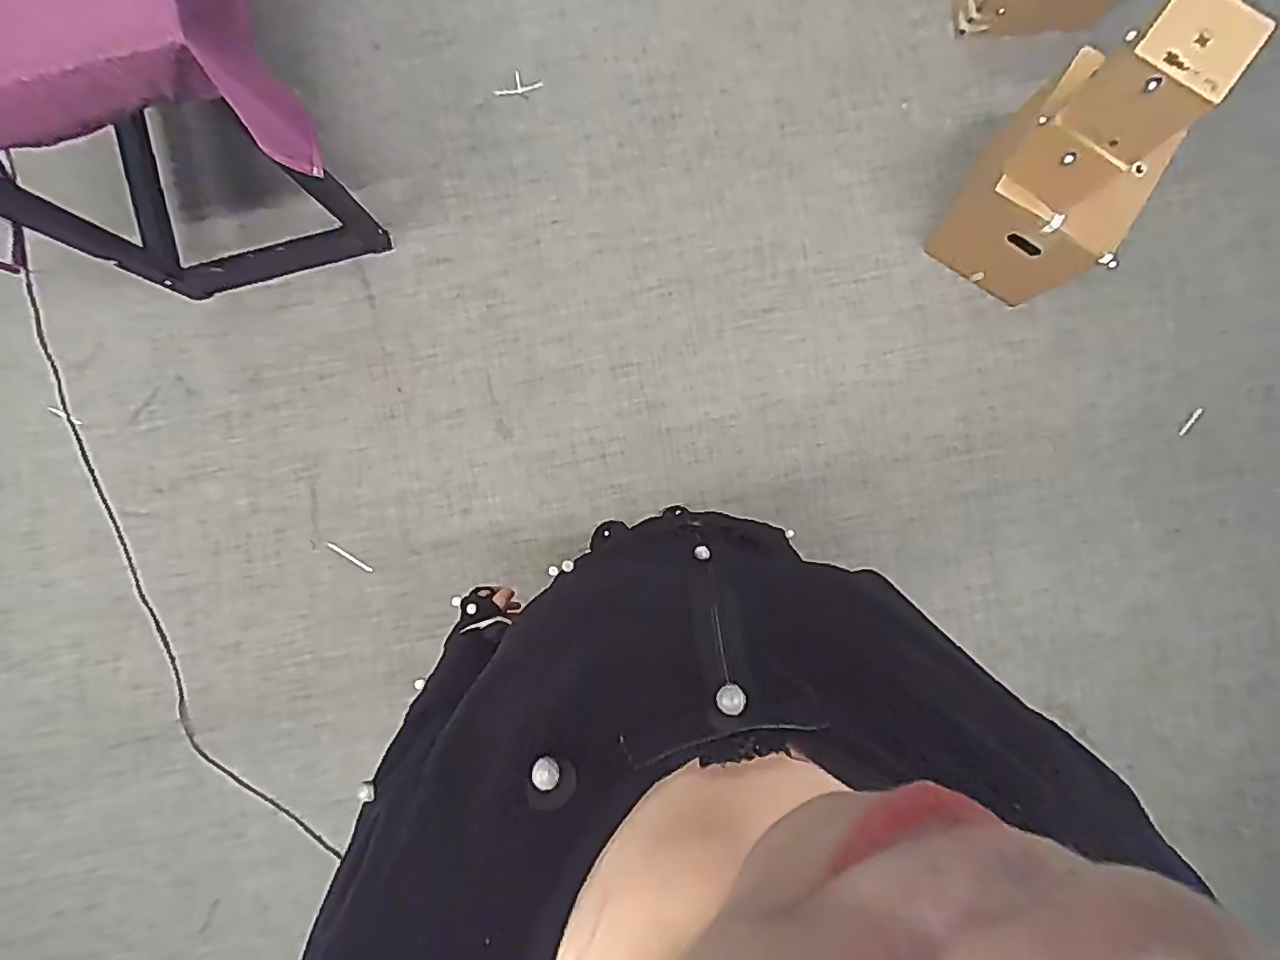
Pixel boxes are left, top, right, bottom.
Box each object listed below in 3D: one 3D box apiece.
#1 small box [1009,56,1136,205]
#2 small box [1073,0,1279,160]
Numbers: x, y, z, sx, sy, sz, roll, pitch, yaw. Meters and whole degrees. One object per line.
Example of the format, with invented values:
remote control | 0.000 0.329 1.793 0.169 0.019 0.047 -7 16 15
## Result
small box | 0.945 -0.721 1.142 0.179 0.176 0.168 41 89 4
small box | 0.948 -0.738 0.978 0.168 0.176 0.179 37 89 4
